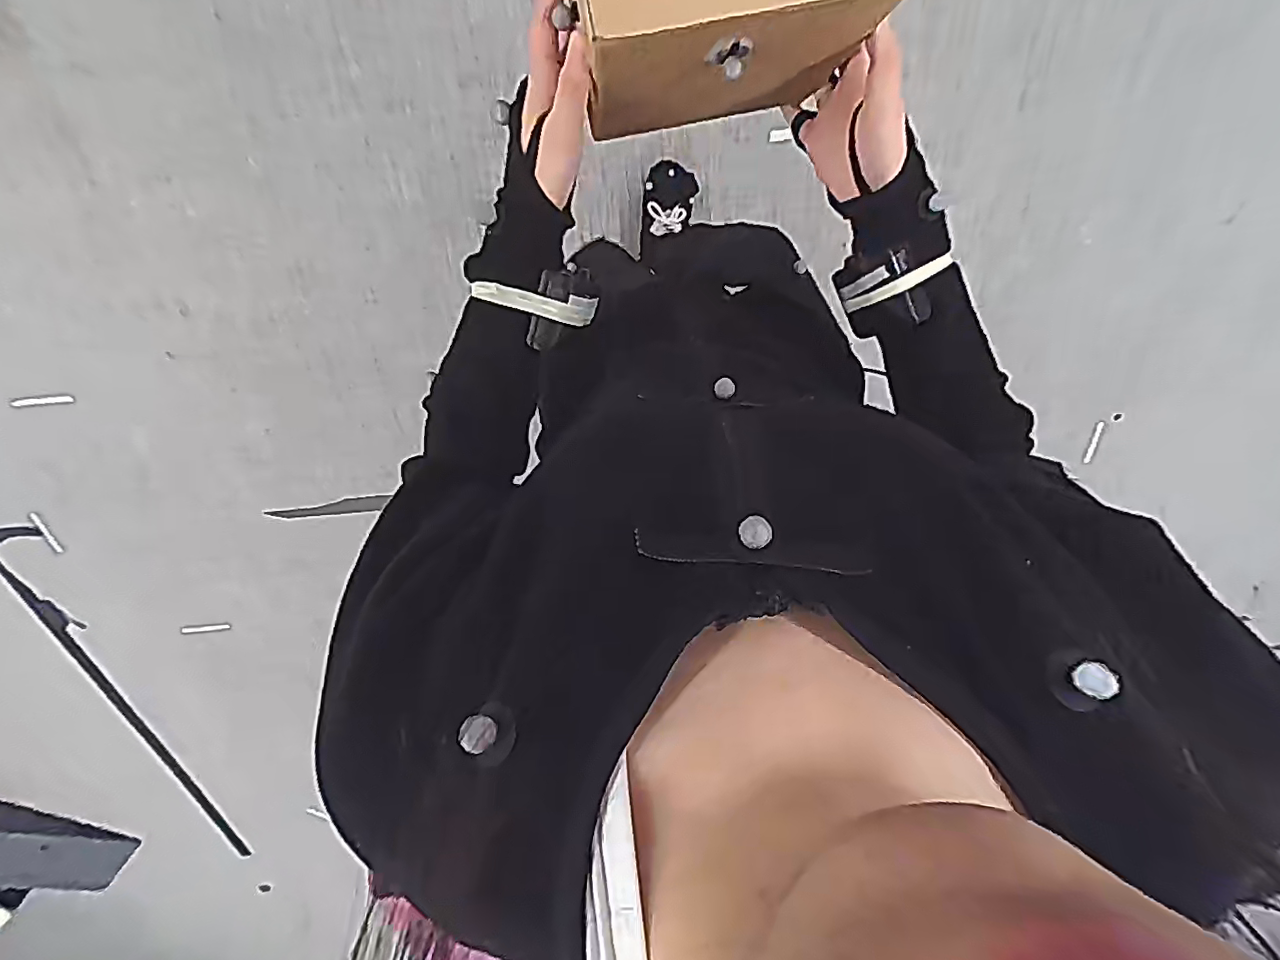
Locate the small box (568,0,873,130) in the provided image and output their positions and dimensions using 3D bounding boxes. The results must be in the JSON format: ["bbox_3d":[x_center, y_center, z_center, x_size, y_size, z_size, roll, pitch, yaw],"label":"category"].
[{"bbox_3d":[0.038,-0.342,0.330,0.179,0.176,0.168,-13,108,-2],"label":"small box"}]

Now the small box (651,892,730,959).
[{"bbox_3d":[0.127,1.159,1.345,0.179,0.176,0.168,-7,120,1],"label":"small box"}]
